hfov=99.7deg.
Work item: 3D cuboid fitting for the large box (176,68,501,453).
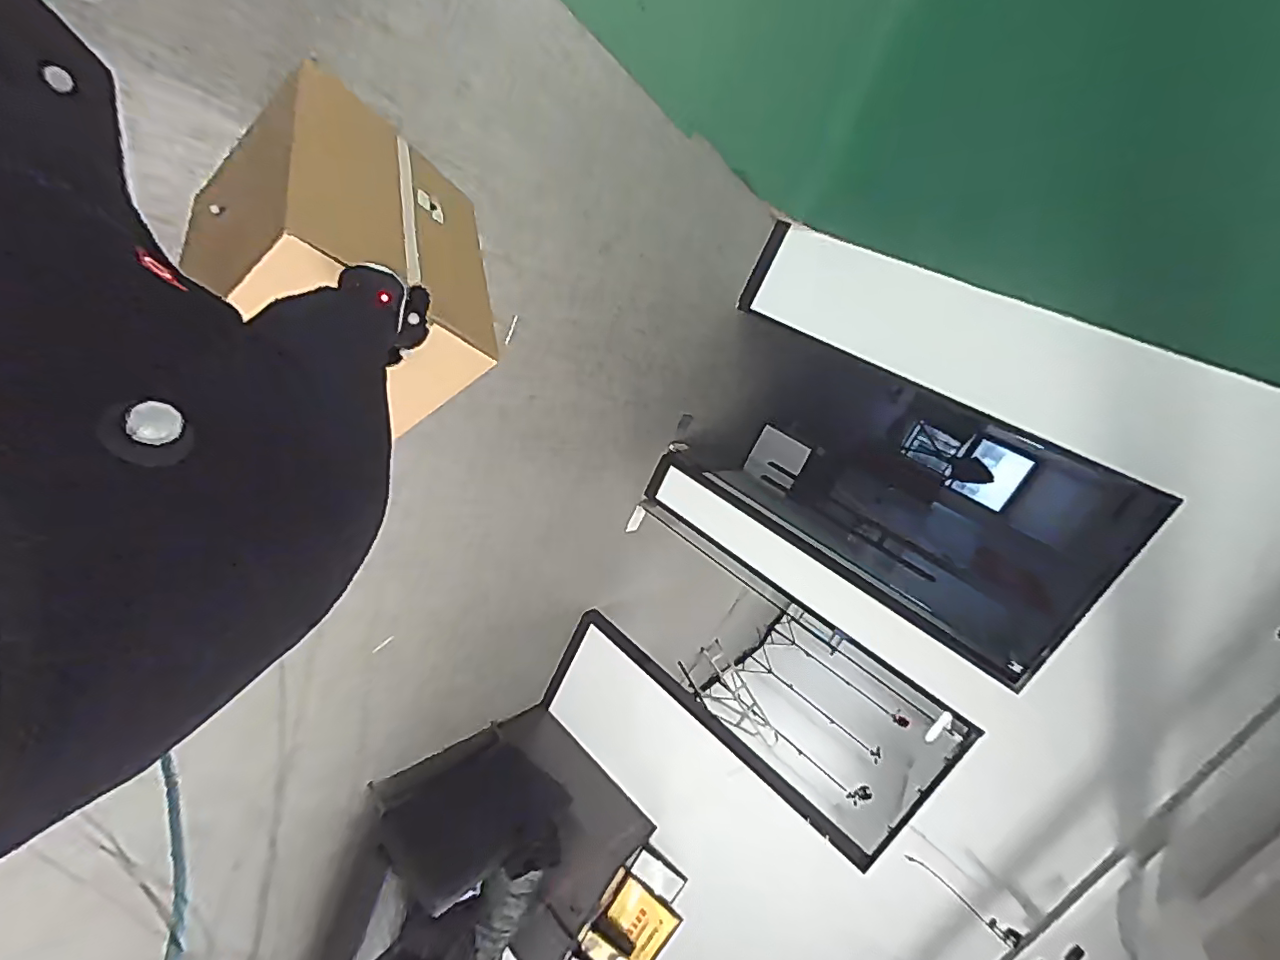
[{"bbox_3d":[-0.468,-0.314,0.860,0.320,0.408,0.320,-30,150,22],"label":"large box"}]
